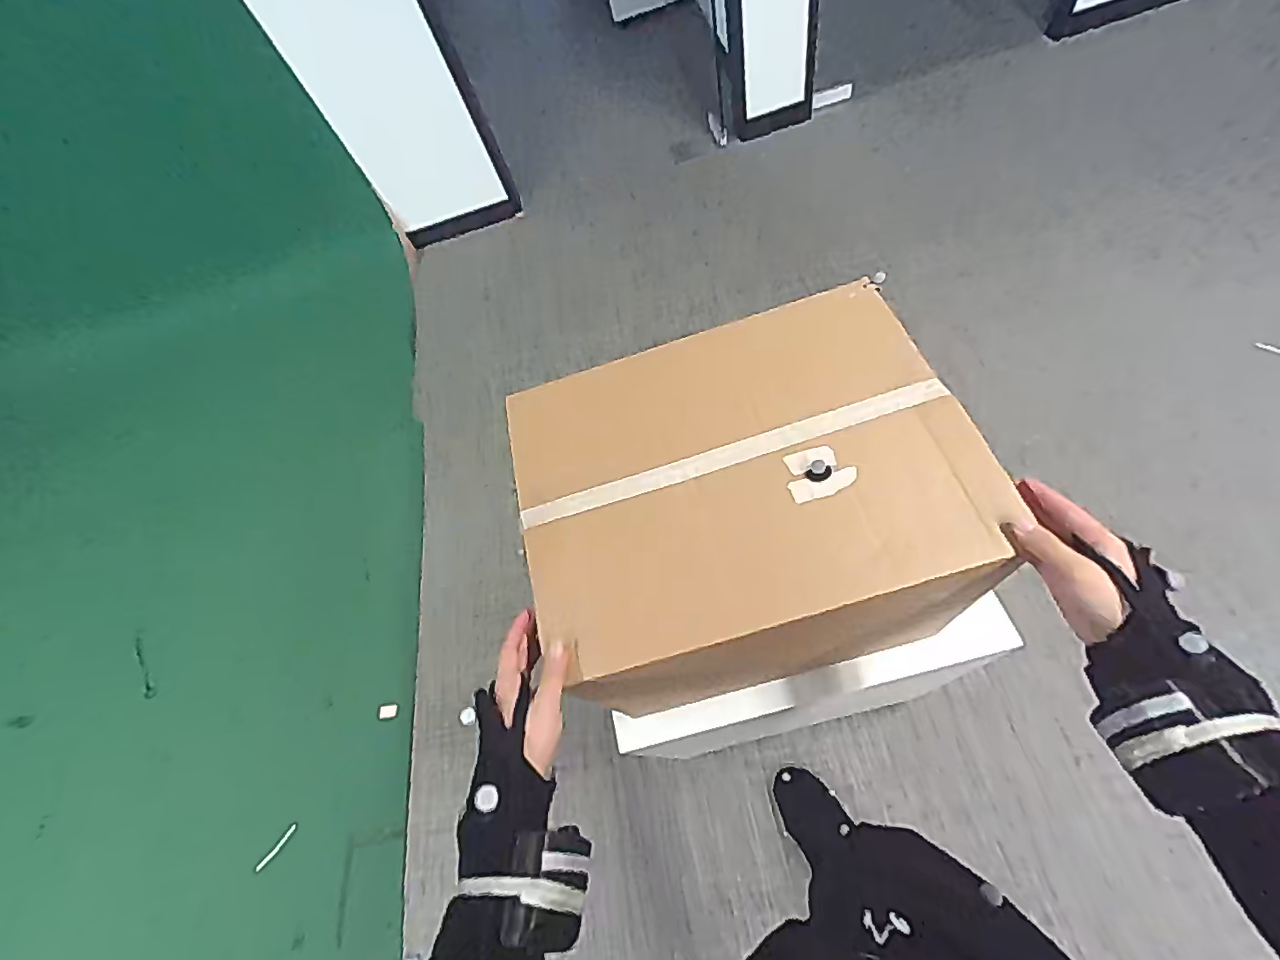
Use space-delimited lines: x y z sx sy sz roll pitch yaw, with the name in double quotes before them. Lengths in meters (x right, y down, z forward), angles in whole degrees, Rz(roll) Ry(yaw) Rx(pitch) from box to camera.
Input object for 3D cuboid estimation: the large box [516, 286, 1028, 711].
"large box" 0.113 0.047 0.639 0.408 0.320 0.320 -17 61 3
